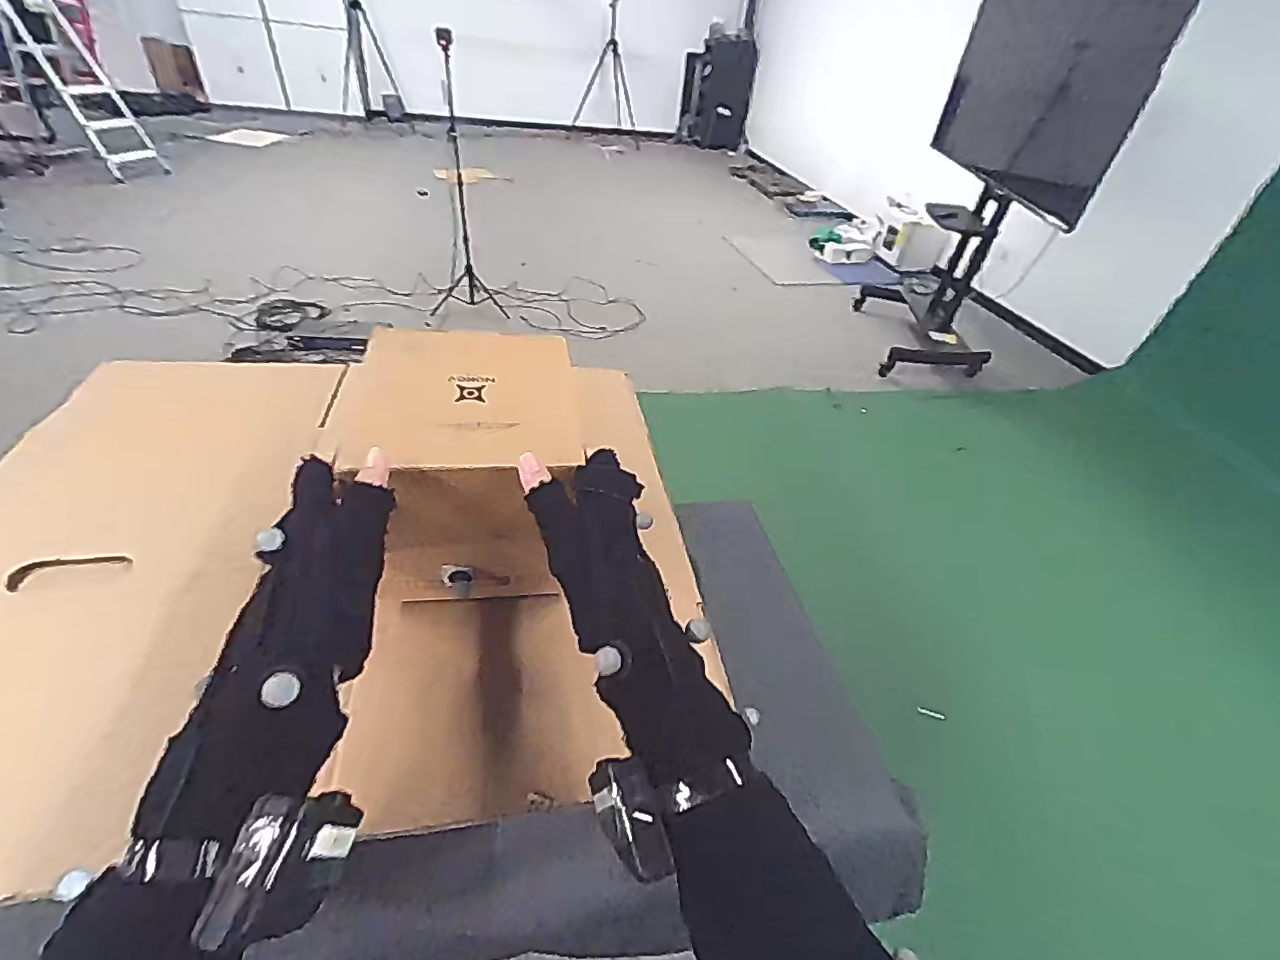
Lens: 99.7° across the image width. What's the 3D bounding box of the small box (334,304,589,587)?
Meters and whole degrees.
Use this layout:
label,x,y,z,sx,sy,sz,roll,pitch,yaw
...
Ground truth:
label,x,y,z,sx,sy,sz,roll,pitch,yaw
small box,-0.142,-0.029,0.469,0.168,0.176,0.179,-2,49,-14
